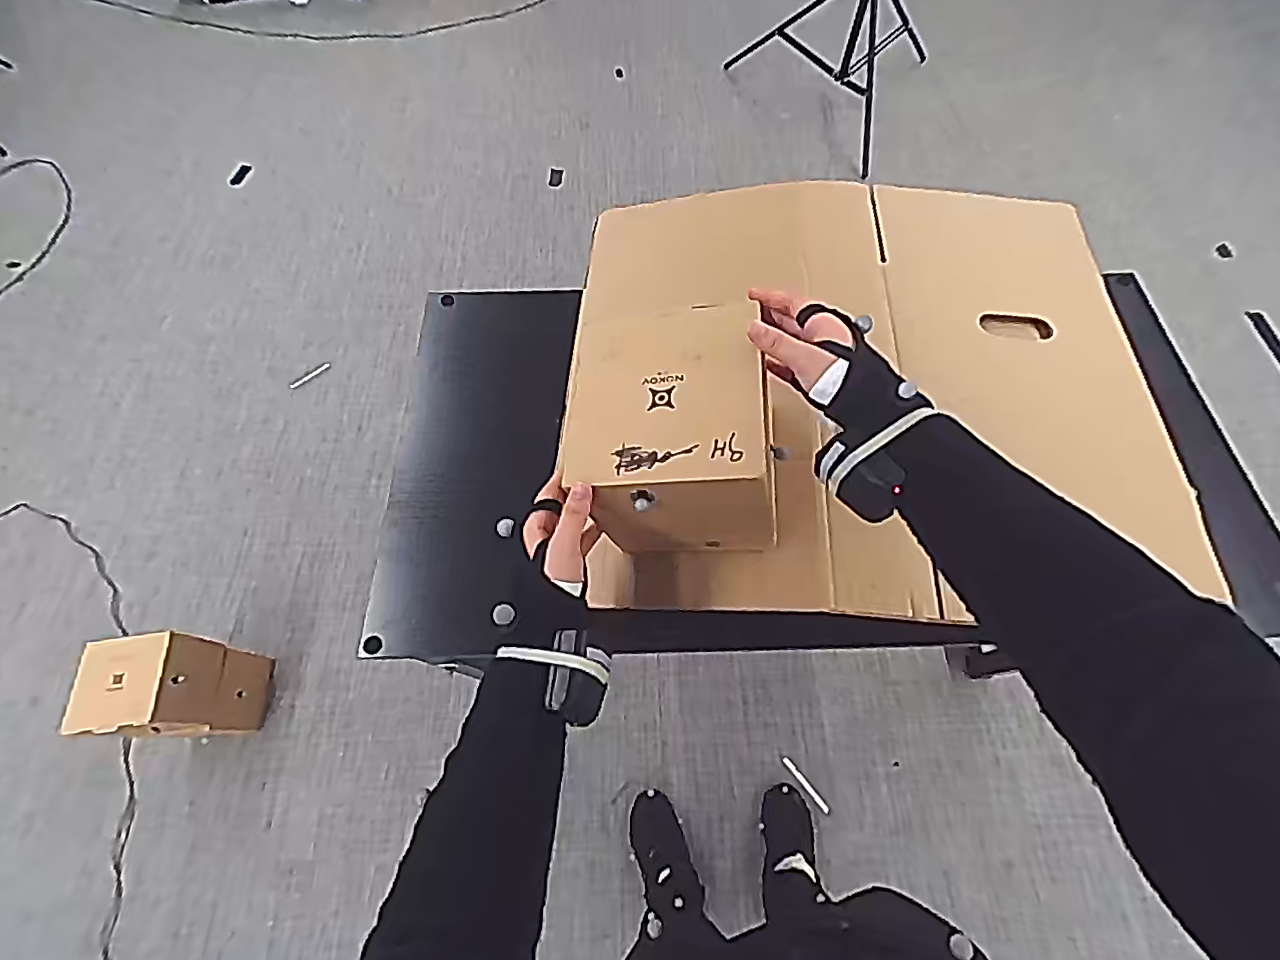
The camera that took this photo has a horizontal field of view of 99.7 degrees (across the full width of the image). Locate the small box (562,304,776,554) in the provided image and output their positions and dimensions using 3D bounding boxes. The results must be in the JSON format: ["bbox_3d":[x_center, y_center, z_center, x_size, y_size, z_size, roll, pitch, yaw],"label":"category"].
[{"bbox_3d":[0.042,-0.038,0.524,0.168,0.176,0.179,-3,63,16],"label":"small box"}]

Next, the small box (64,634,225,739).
[{"bbox_3d":[-1.013,0.433,1.127,0.168,0.176,0.179,-7,63,-3],"label":"small box"}]

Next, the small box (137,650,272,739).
[{"bbox_3d":[-1.008,0.508,1.271,0.168,0.176,0.179,-5,65,-1],"label":"small box"}]
